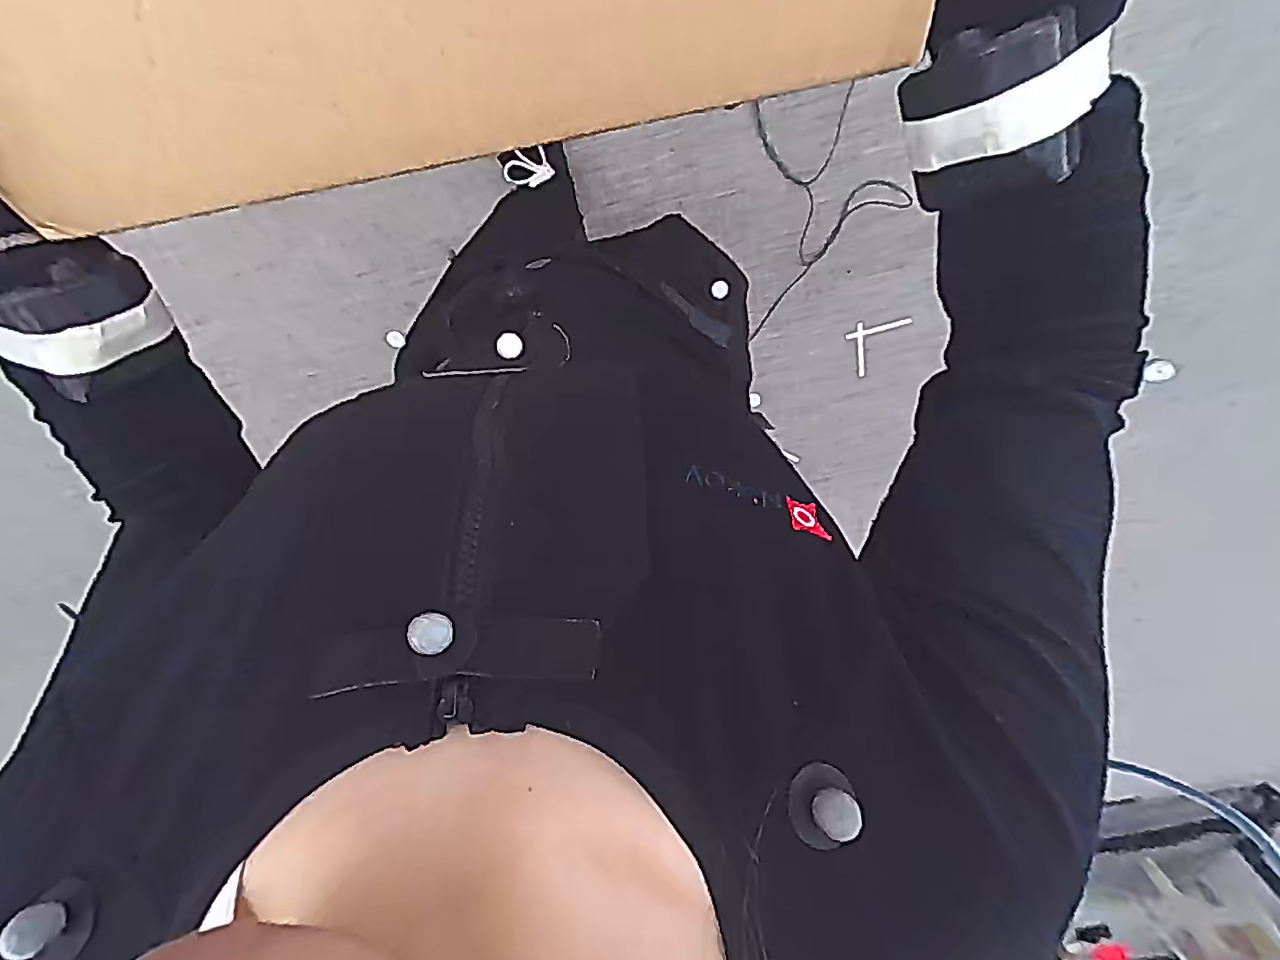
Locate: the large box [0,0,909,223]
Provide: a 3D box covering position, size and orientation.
[{"bbox_3d":[-0.115,-0.367,0.232,0.408,0.320,0.320,-9,138,4],"label":"large box"}]
